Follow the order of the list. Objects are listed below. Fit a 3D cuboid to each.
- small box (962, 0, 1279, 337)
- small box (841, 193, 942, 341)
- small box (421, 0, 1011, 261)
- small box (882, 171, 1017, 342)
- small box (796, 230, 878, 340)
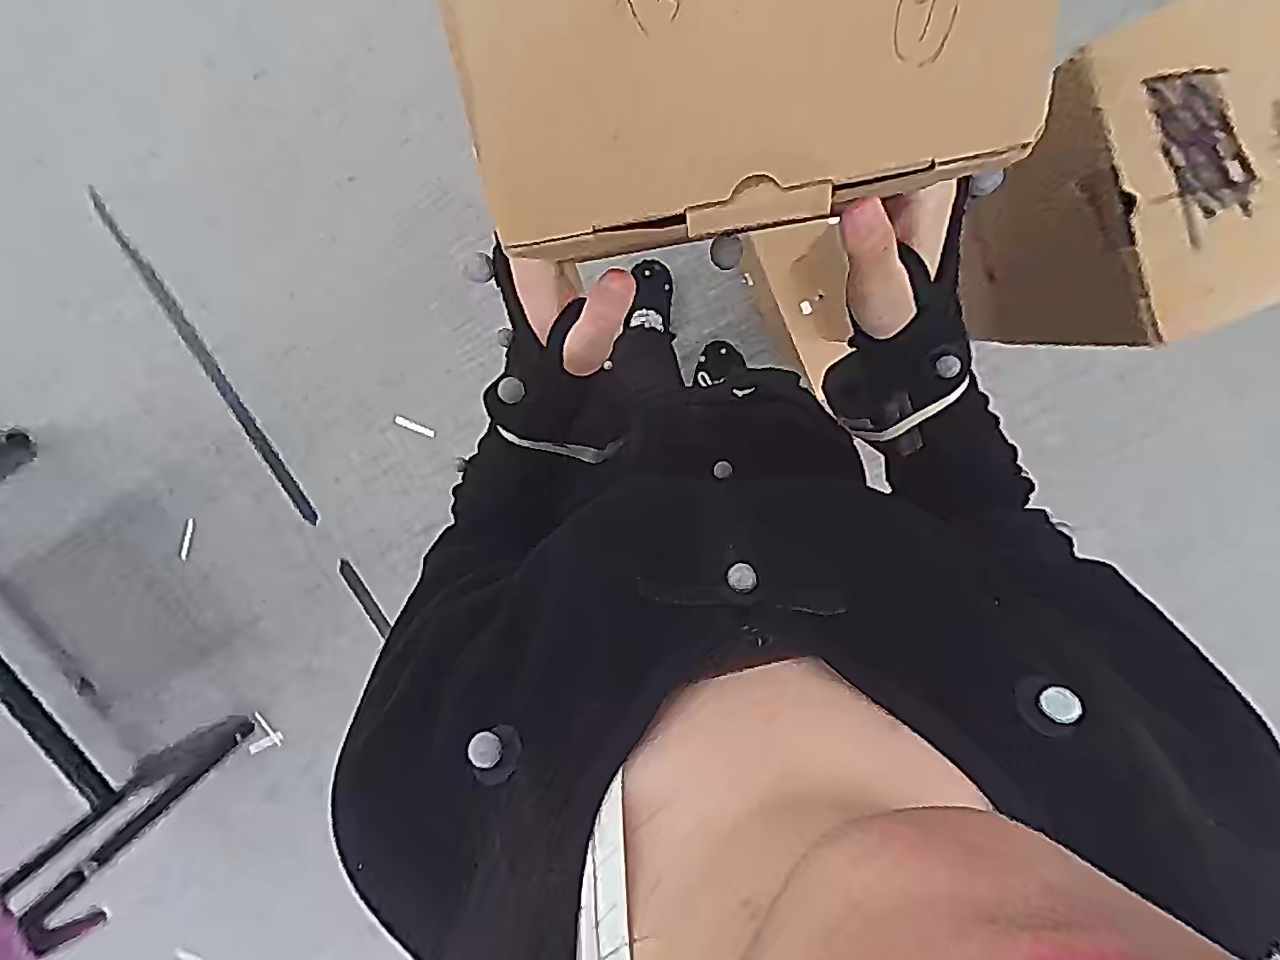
[{"bbox_3d":[0.343,-0.202,0.353,0.179,0.176,0.168,-22,102,11],"label":"small box"},{"bbox_3d":[0.371,-0.288,0.667,0.168,0.176,0.179,-23,102,11],"label":"small box"},{"bbox_3d":[0.018,-0.195,0.216,0.168,0.176,0.179,-9,111,6],"label":"small box"},{"bbox_3d":[0.357,-0.246,0.511,0.168,0.176,0.179,-22,101,12],"label":"small box"},{"bbox_3d":[0.401,-0.370,0.984,0.168,0.176,0.179,-26,102,13],"label":"small box"}]
